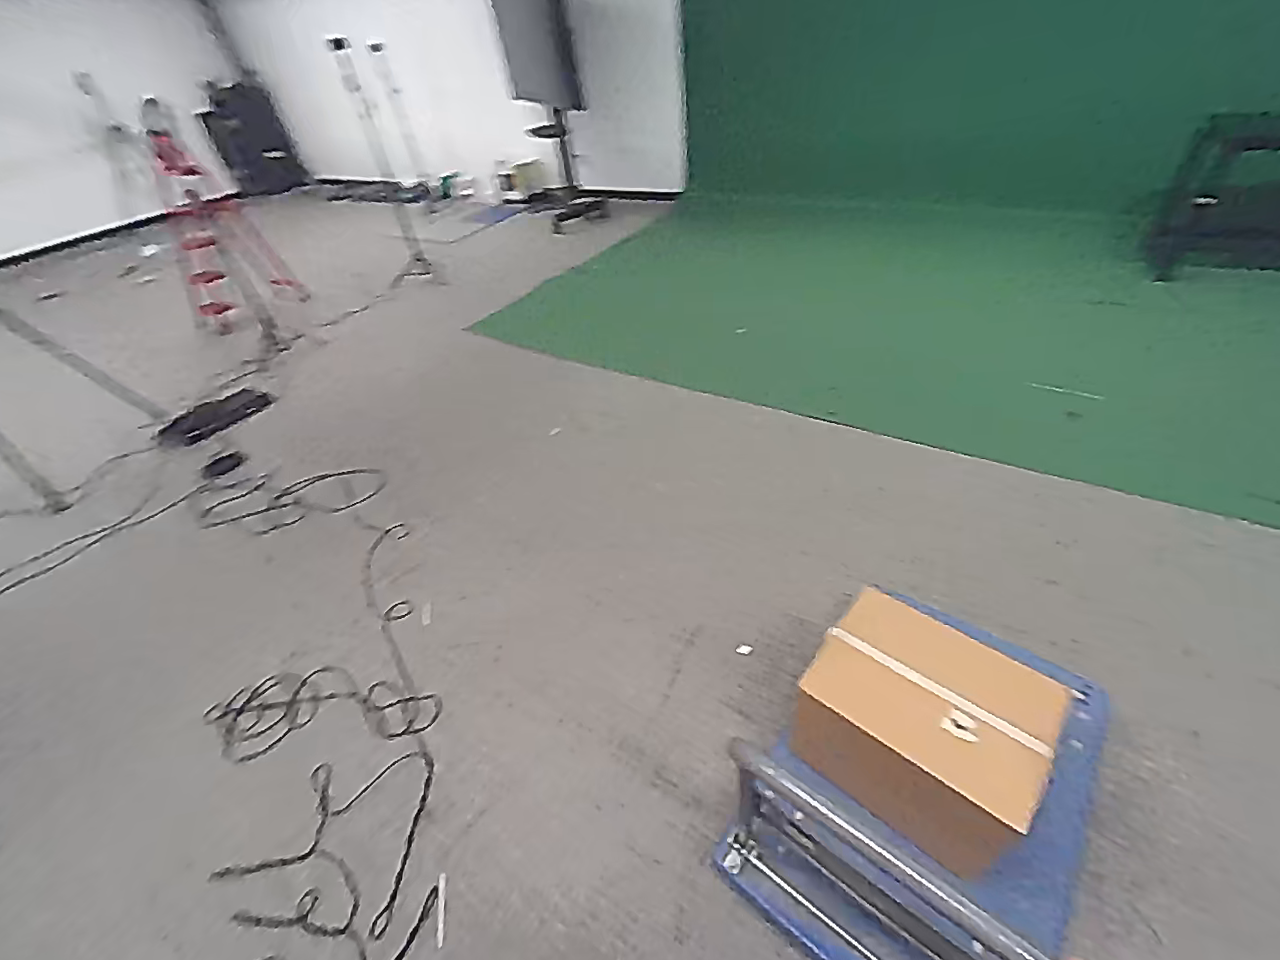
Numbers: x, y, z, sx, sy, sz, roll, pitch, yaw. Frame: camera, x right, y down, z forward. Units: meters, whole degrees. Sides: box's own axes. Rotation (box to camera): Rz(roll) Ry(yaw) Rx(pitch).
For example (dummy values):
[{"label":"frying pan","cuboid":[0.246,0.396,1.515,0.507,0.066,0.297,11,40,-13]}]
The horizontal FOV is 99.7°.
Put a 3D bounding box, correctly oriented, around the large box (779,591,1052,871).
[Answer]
[{"label":"large box","cuboid":[0.563,0.522,1.168,0.408,0.320,0.320,27,52,32]}]
